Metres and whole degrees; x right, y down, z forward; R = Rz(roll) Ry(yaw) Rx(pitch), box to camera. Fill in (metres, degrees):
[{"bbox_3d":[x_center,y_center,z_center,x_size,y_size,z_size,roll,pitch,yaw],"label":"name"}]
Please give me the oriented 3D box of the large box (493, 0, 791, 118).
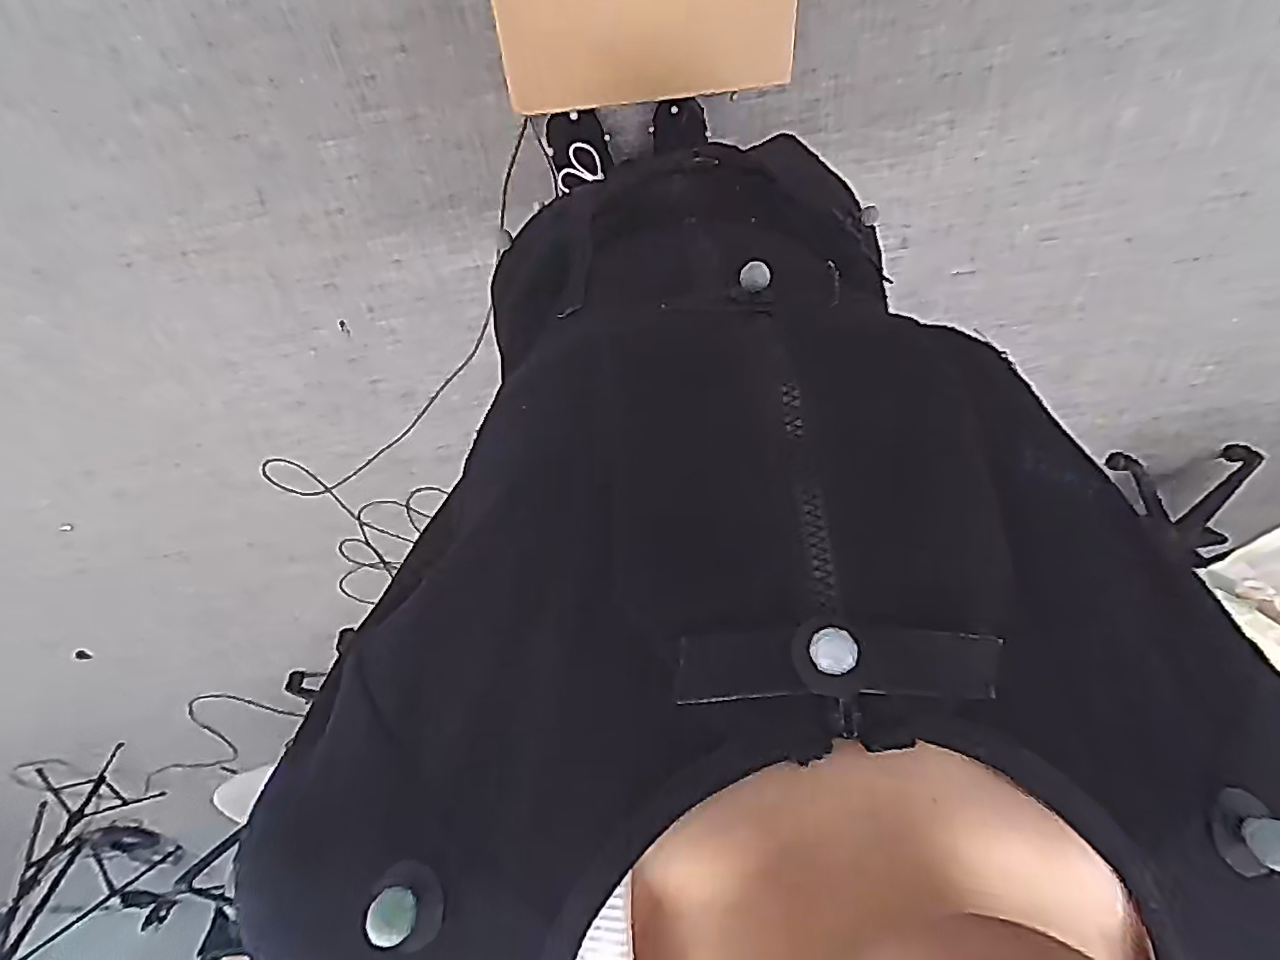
[{"bbox_3d":[-0.009,-0.764,0.804,0.408,0.320,0.320,-7,129,0],"label":"large box"}]
